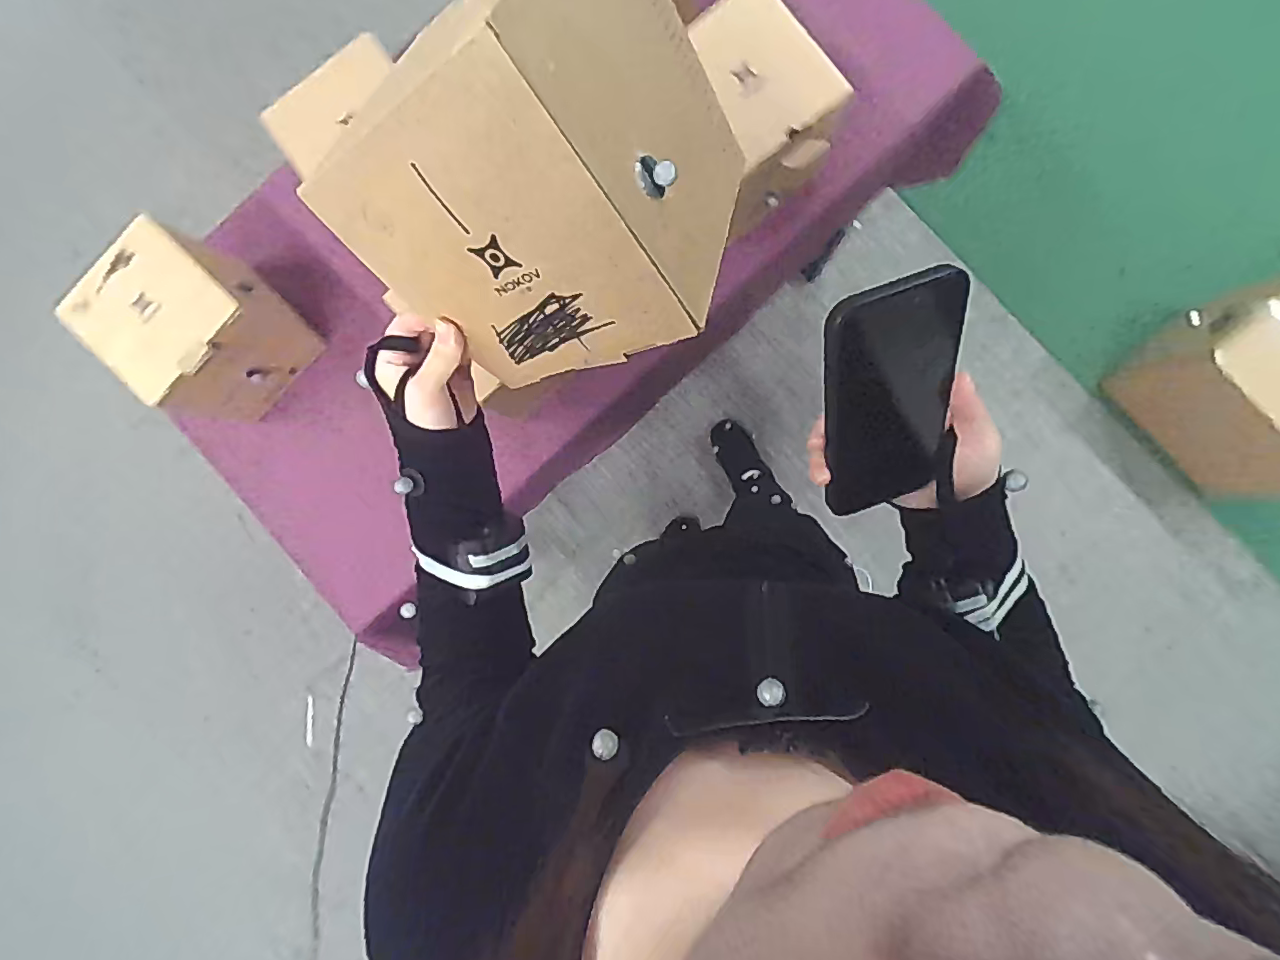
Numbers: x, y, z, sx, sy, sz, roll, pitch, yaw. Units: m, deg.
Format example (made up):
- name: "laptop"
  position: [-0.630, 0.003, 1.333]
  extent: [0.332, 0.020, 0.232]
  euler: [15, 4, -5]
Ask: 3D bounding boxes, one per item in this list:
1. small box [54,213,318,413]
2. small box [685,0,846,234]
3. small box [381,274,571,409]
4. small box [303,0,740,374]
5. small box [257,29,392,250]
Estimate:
- name: "small box"
  position: [-0.588, -0.206, 0.727]
  extent: [0.179, 0.176, 0.168]
  euler: [43, 91, 2]
- name: "small box"
  position: [0.119, -0.456, 0.684]
  extent: [0.168, 0.176, 0.179]
  euler: [-38, 88, 3]
- name: "small box"
  position: [-0.181, -0.208, 0.703]
  extent: [0.168, 0.176, 0.179]
  euler: [-43, 86, 2]
- name: "small box"
  position: [-0.054, -0.196, 0.340]
  extent: [0.168, 0.179, 0.176]
  euler: [-4, 58, 37]
- name: "small box"
  position: [-0.336, -0.414, 0.712]
  extent: [0.168, 0.176, 0.179]
  euler: [-36, 88, 3]
